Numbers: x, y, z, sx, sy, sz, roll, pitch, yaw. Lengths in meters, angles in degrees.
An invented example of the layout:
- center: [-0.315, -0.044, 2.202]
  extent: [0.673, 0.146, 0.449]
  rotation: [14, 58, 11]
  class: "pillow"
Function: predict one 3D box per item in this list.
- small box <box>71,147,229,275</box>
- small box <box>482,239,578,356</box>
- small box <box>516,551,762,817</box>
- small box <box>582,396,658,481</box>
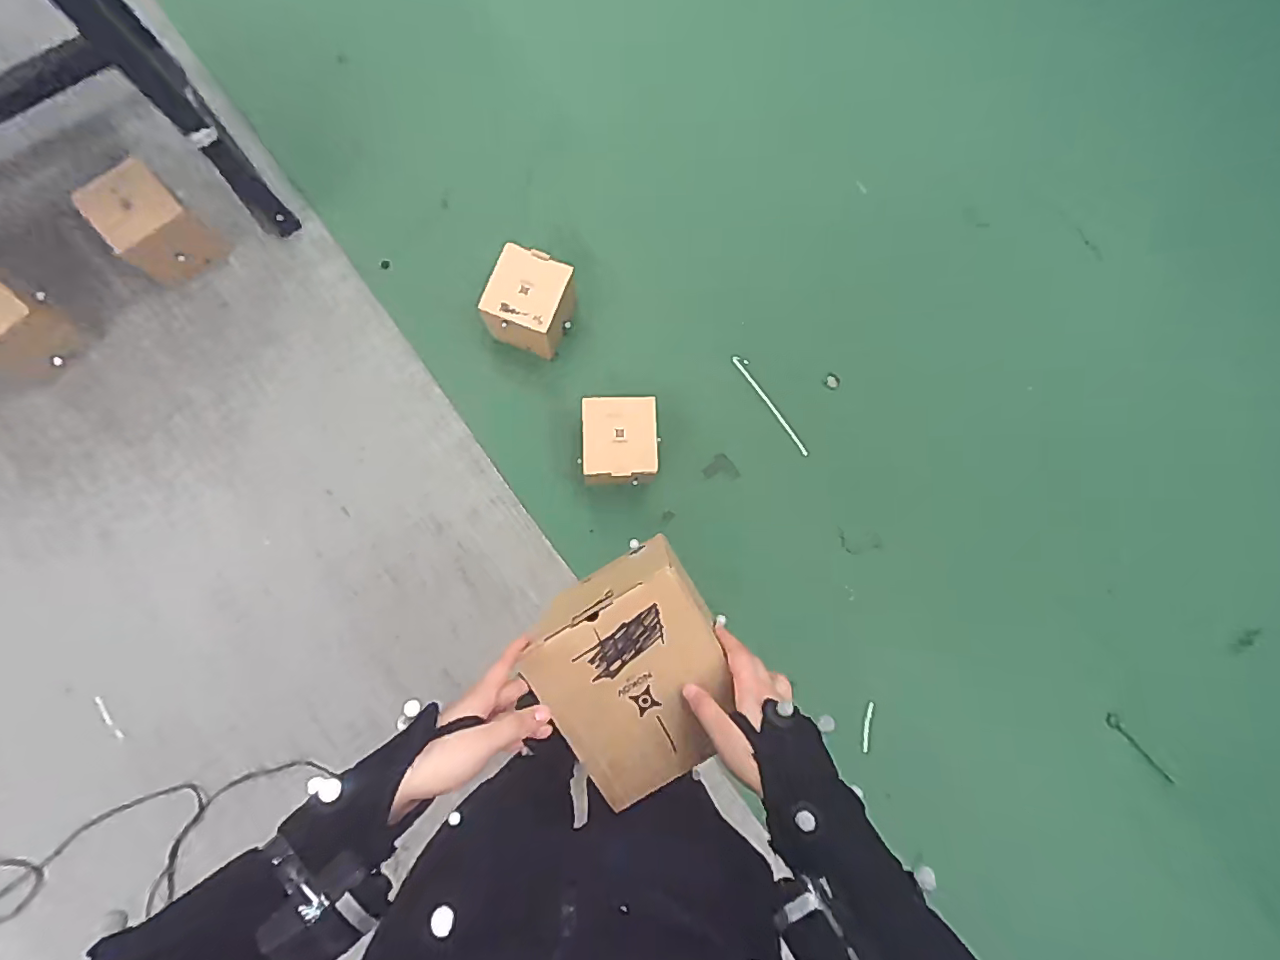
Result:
- center: [-1.109, -0.603, 1.244]
  extent: [0.168, 0.176, 0.179]
  rotation: [-41, 88, -9]
  class: "small box"
- center: [-0.255, -0.428, 1.291]
  extent: [0.168, 0.176, 0.179]
  rotation: [22, 81, -1]
  class: "small box"
- center: [-0.002, 0.189, 0.565]
  extent: [0.168, 0.176, 0.179]
  rotation: [-31, 95, 2]
  class: "small box"
- center: [-0.049, -0.090, 1.263]
  extent: [0.168, 0.176, 0.179]
  rotation: [-1, 82, -6]
  class: "small box"
